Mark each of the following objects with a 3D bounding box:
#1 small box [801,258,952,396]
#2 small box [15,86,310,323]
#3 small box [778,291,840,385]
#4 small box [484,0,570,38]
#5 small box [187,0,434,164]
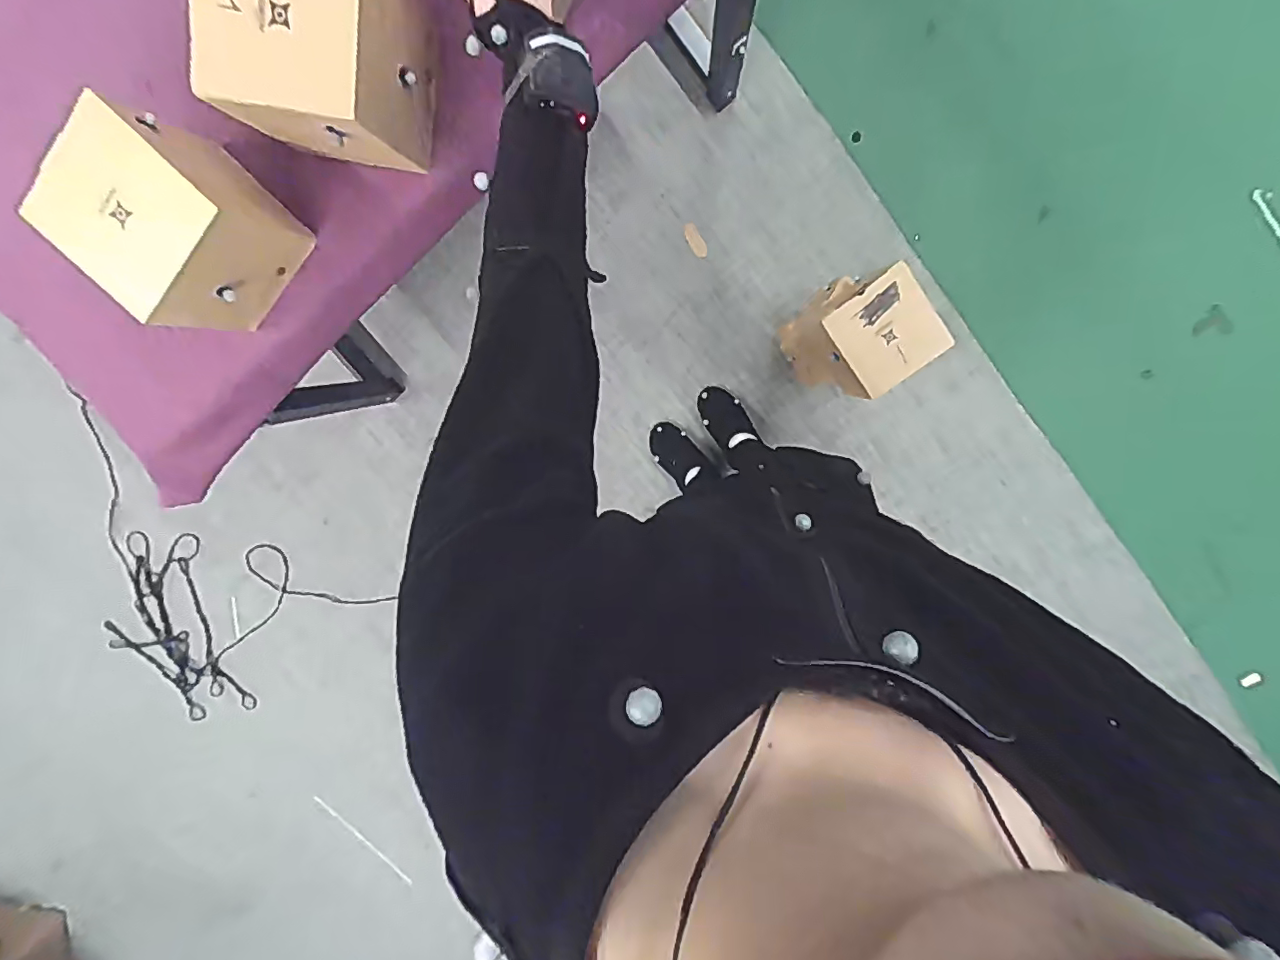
[{"bbox_3d":[0.426,-0.277,1.006,0.168,0.176,0.179,-36,100,11],"label":"small box"},{"bbox_3d":[-0.554,-0.310,0.655,0.179,0.176,0.168,44,102,-5],"label":"small box"},{"bbox_3d":[0.453,-0.349,1.325,0.179,0.176,0.168,-27,101,10],"label":"small box"},{"bbox_3d":[-0.132,-0.614,0.542,0.168,0.176,0.179,28,103,-9],"label":"small box"},{"bbox_3d":[-0.348,-0.473,0.599,0.179,0.176,0.168,11,103,2],"label":"small box"}]
